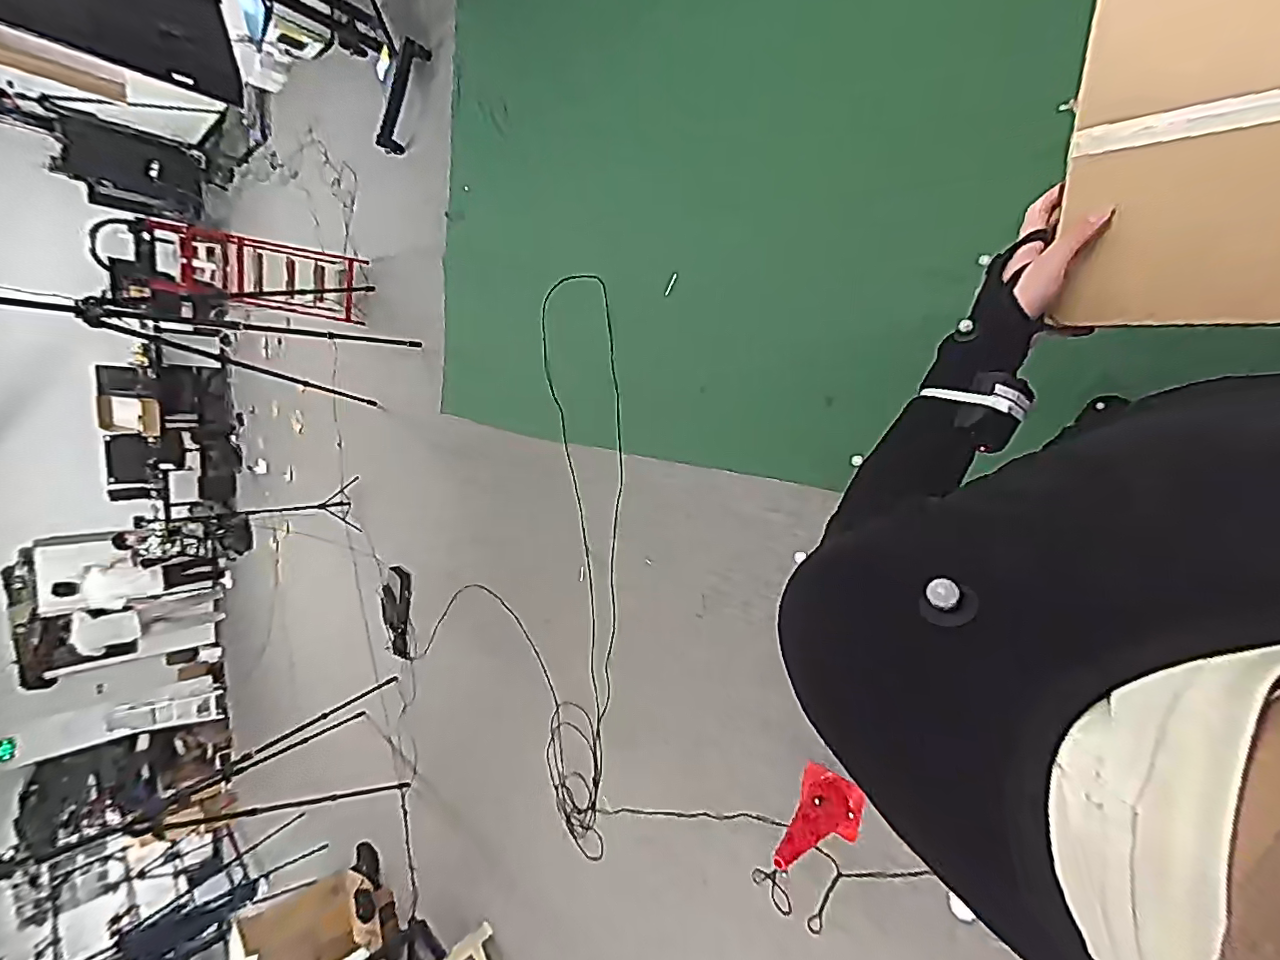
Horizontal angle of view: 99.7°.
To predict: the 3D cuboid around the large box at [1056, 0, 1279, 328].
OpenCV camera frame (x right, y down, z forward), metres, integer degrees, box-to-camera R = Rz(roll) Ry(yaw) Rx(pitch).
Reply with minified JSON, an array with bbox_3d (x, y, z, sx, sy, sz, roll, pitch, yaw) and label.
[{"bbox_3d":[0.640,-0.301,0.456,0.408,0.320,0.320,13,113,42],"label":"large box"}]
